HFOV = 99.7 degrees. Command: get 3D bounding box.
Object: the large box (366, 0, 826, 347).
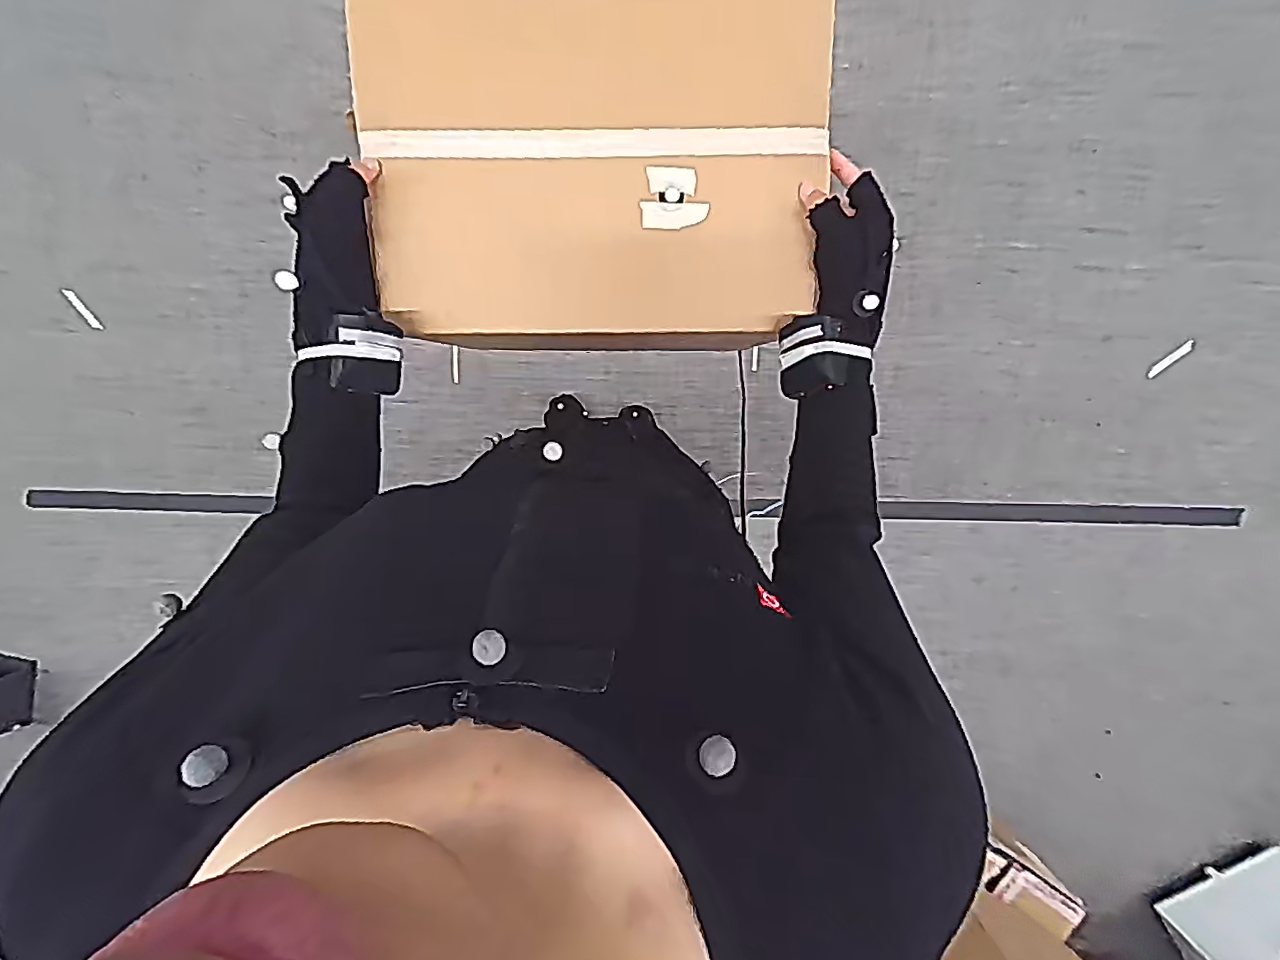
[{"bbox_3d":[-0.040,-0.328,0.634,0.408,0.320,0.320,-1,101,-2],"label":"large box"}]
